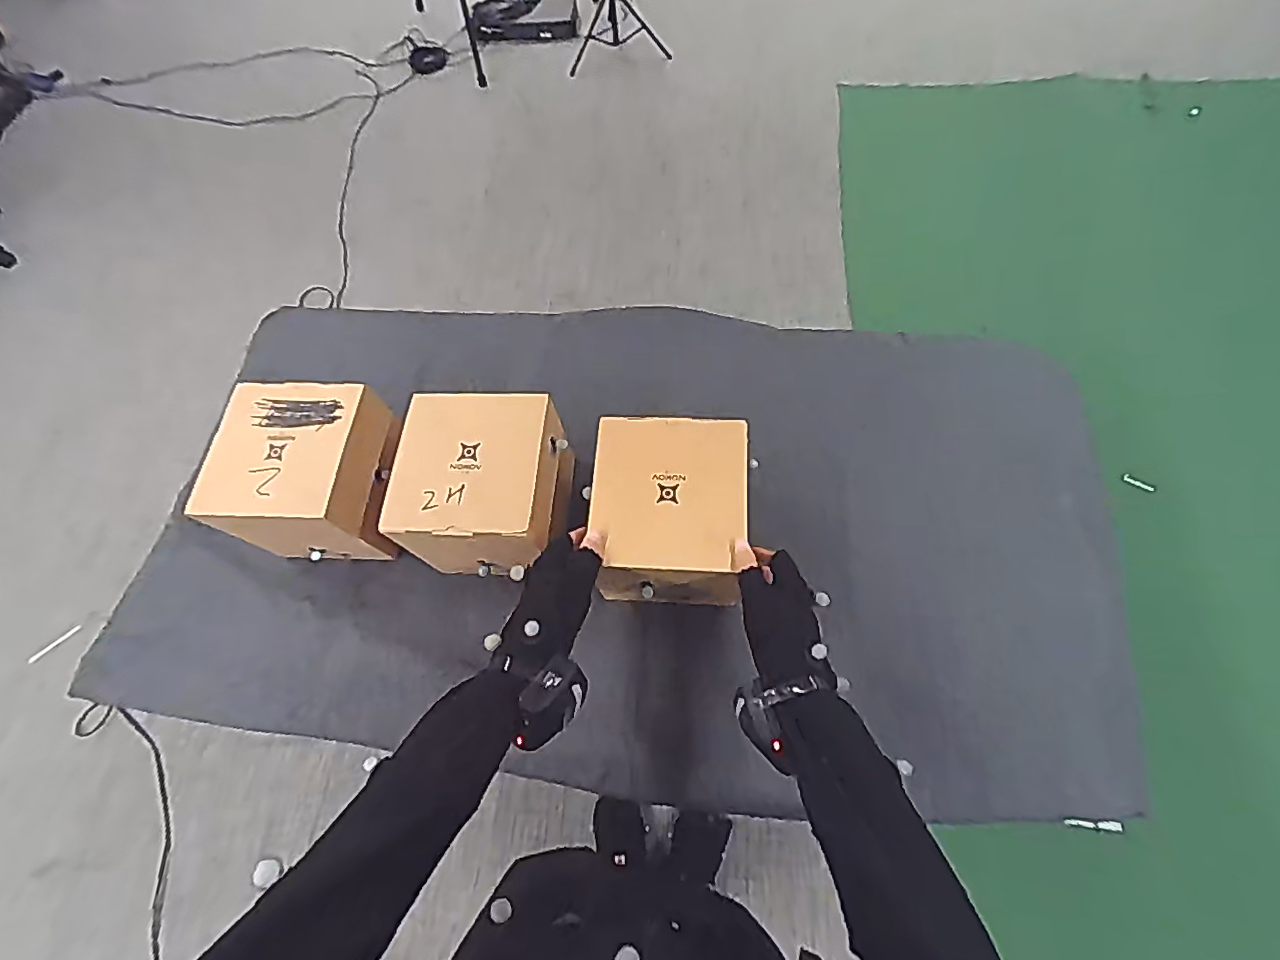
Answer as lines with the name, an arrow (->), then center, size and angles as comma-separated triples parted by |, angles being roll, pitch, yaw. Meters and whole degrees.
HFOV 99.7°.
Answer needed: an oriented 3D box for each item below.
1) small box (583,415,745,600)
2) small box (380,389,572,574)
small box -> 0.035, 0.040, 0.642 | 0.168, 0.176, 0.179 | 2, 65, 5
small box -> -0.185, 0.006, 0.672 | 0.168, 0.176, 0.179 | 1, 66, 5
